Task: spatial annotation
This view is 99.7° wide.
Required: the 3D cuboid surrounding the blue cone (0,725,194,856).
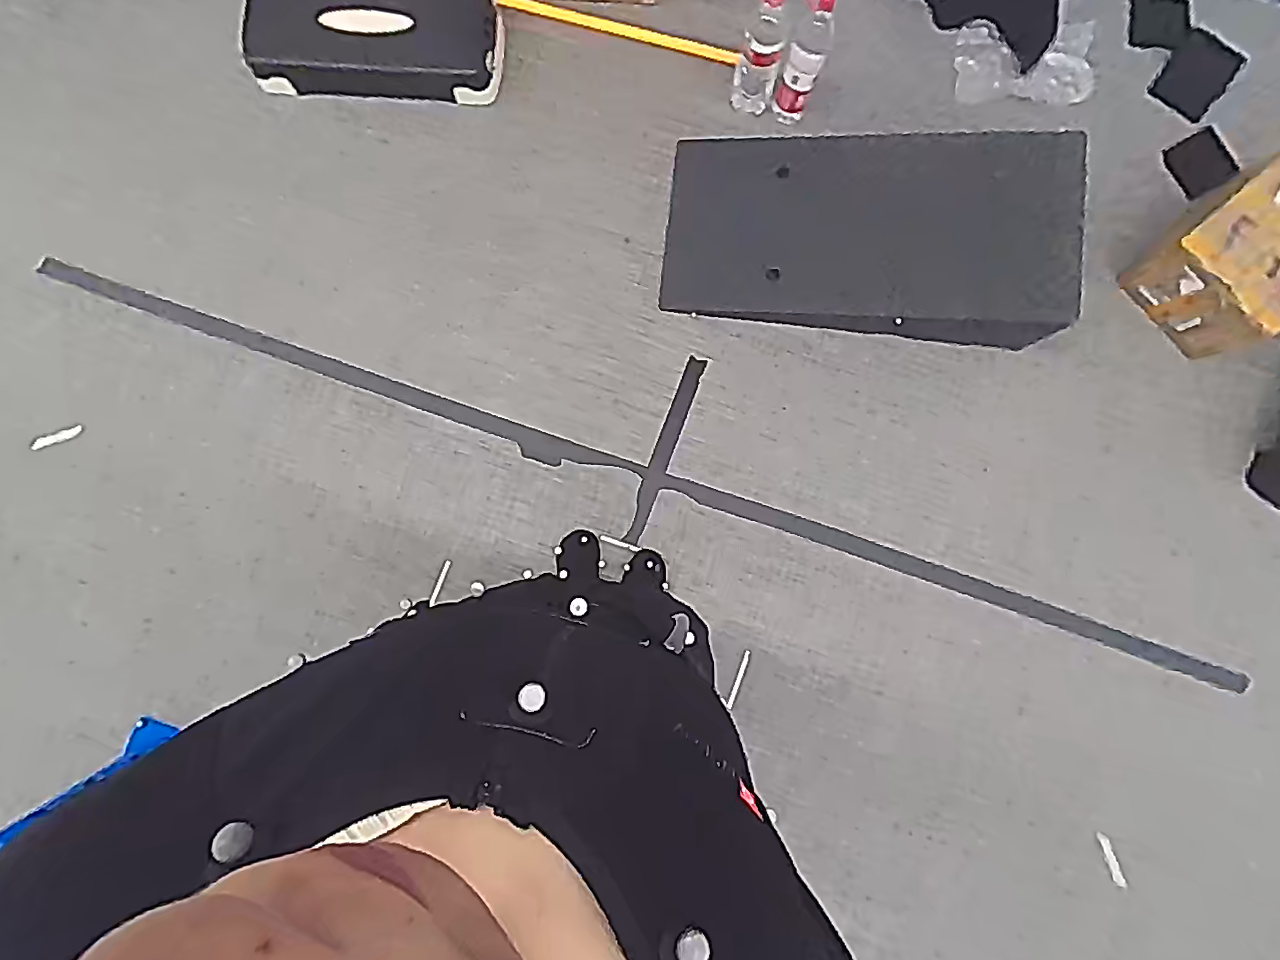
[{"bbox_3d":[-1.197,0.695,1.153,0.192,0.380,0.193,21,85,3],"label":"blue cone"}]
